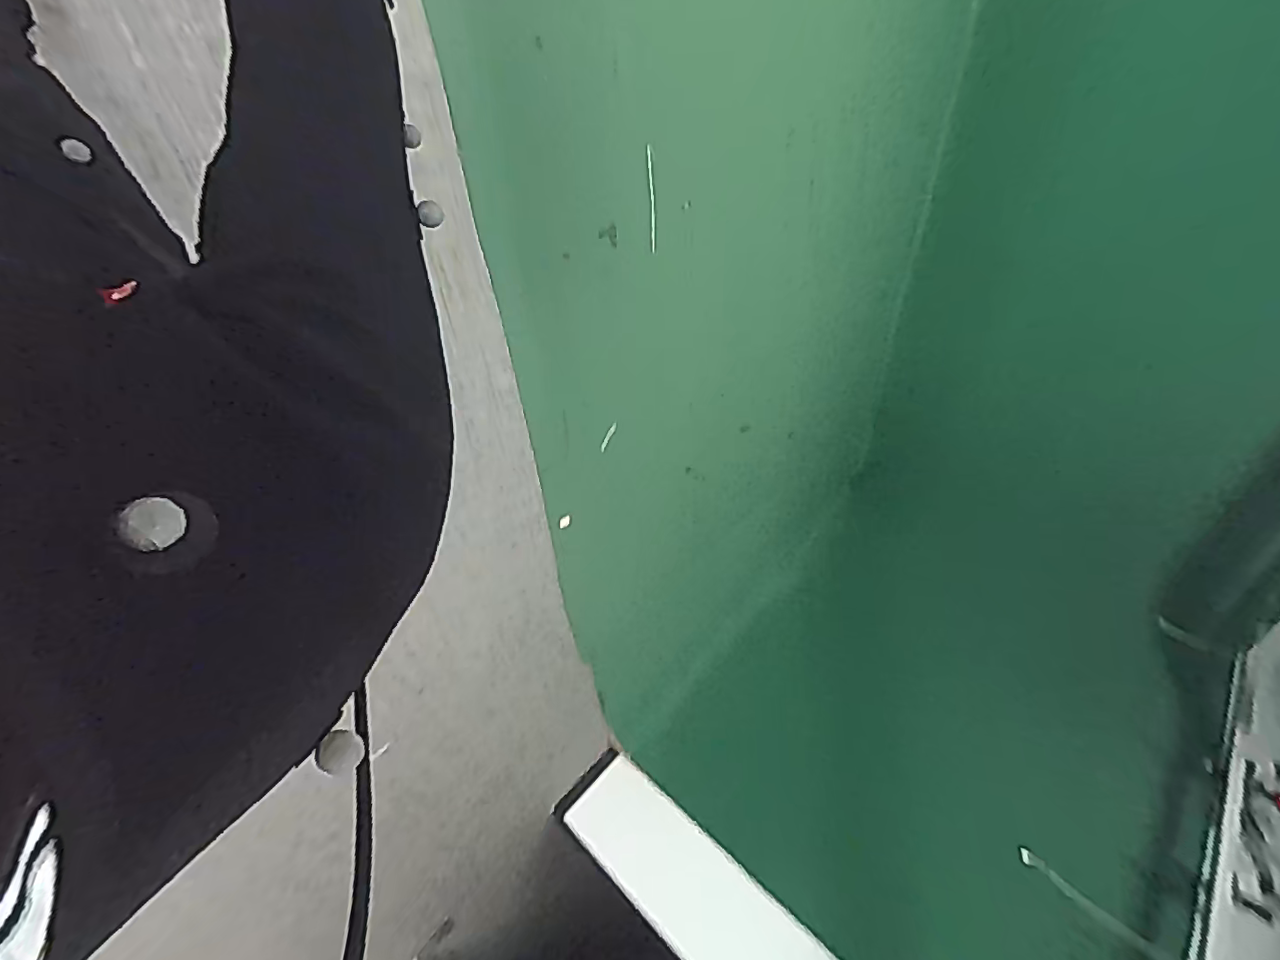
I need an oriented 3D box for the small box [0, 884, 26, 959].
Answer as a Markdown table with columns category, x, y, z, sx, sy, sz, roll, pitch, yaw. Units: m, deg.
| category | x | y | z | sx | sy | sz | roll | pitch | yaw |
| --- | --- | --- | --- | --- | --- | --- | --- | --- | --- |
| small box | -1.416 | 0.945 | 1.093 | 0.168 | 0.176 | 0.179 | -37 | 138 | -31 |
